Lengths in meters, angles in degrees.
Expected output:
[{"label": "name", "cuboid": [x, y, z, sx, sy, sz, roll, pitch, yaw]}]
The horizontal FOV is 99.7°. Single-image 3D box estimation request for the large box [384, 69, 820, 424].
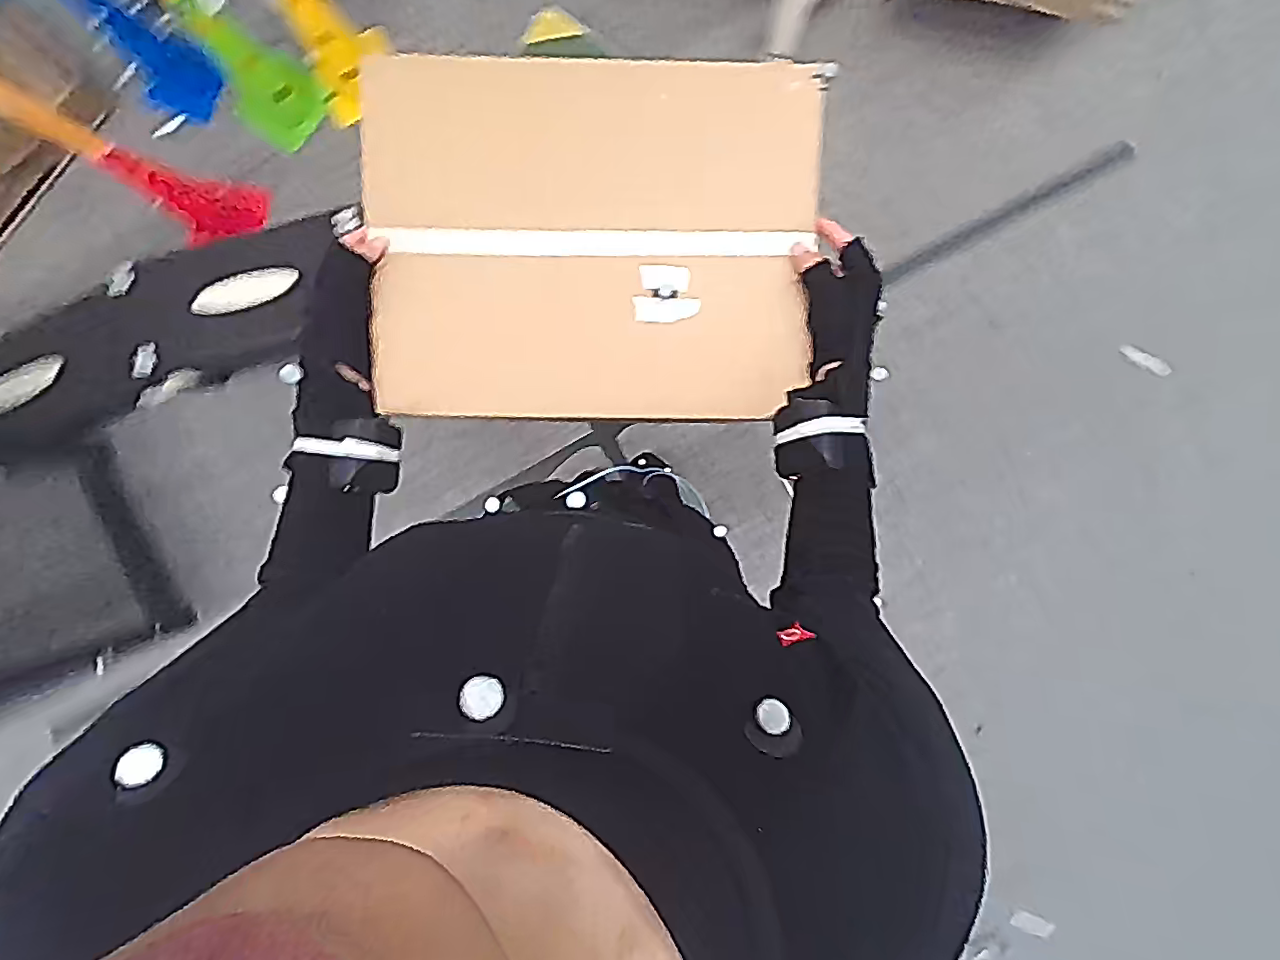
[{"label": "large box", "cuboid": [-0.041, -0.227, 0.652, 0.408, 0.320, 0.320, 1, 96, -2]}]
